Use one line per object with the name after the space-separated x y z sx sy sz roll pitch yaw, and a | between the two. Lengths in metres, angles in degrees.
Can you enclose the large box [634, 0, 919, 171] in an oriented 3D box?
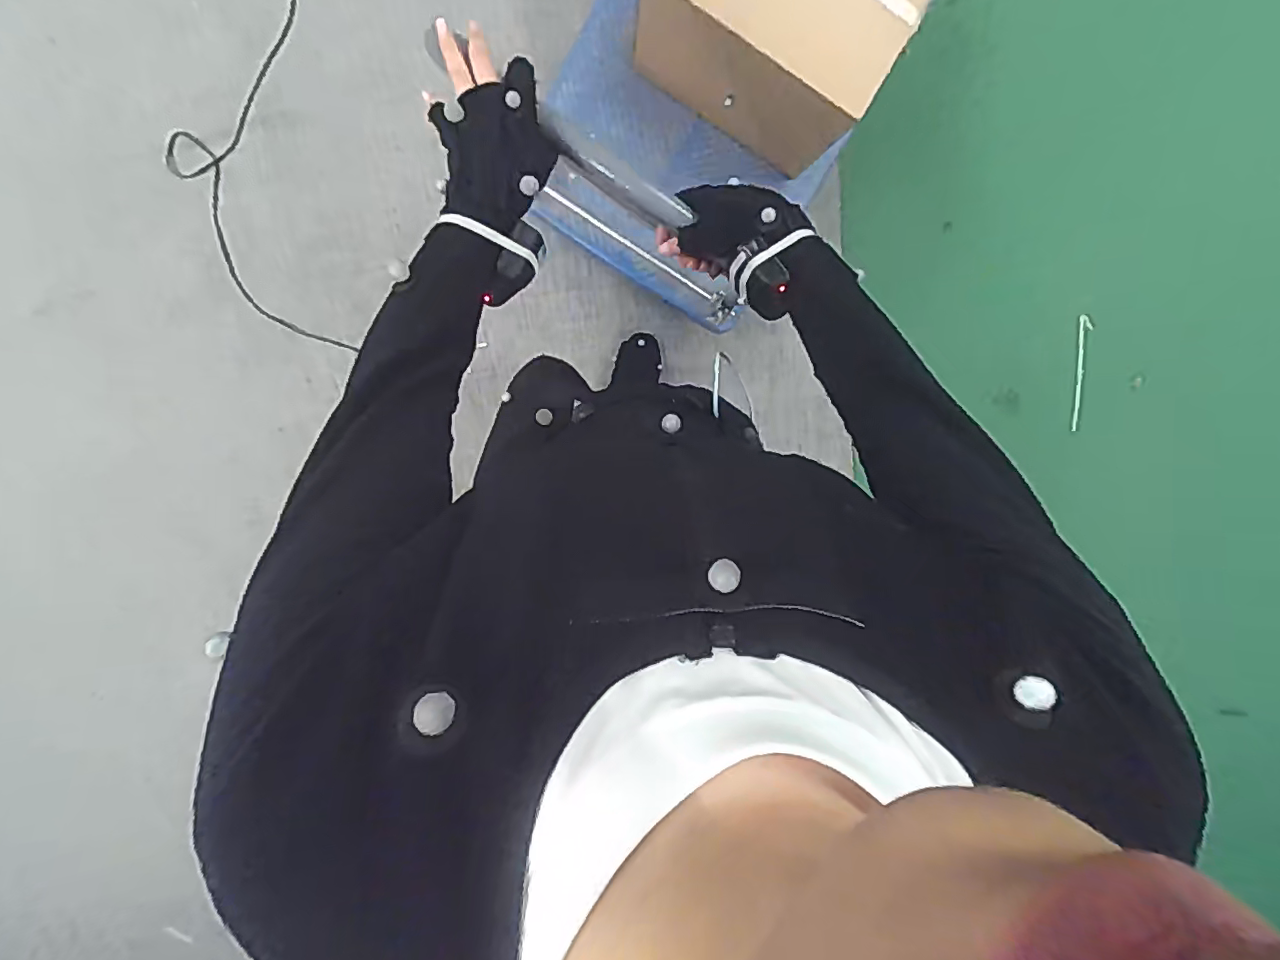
0.238 -0.840 0.961 0.408 0.320 0.320 28 99 -10 | large box
